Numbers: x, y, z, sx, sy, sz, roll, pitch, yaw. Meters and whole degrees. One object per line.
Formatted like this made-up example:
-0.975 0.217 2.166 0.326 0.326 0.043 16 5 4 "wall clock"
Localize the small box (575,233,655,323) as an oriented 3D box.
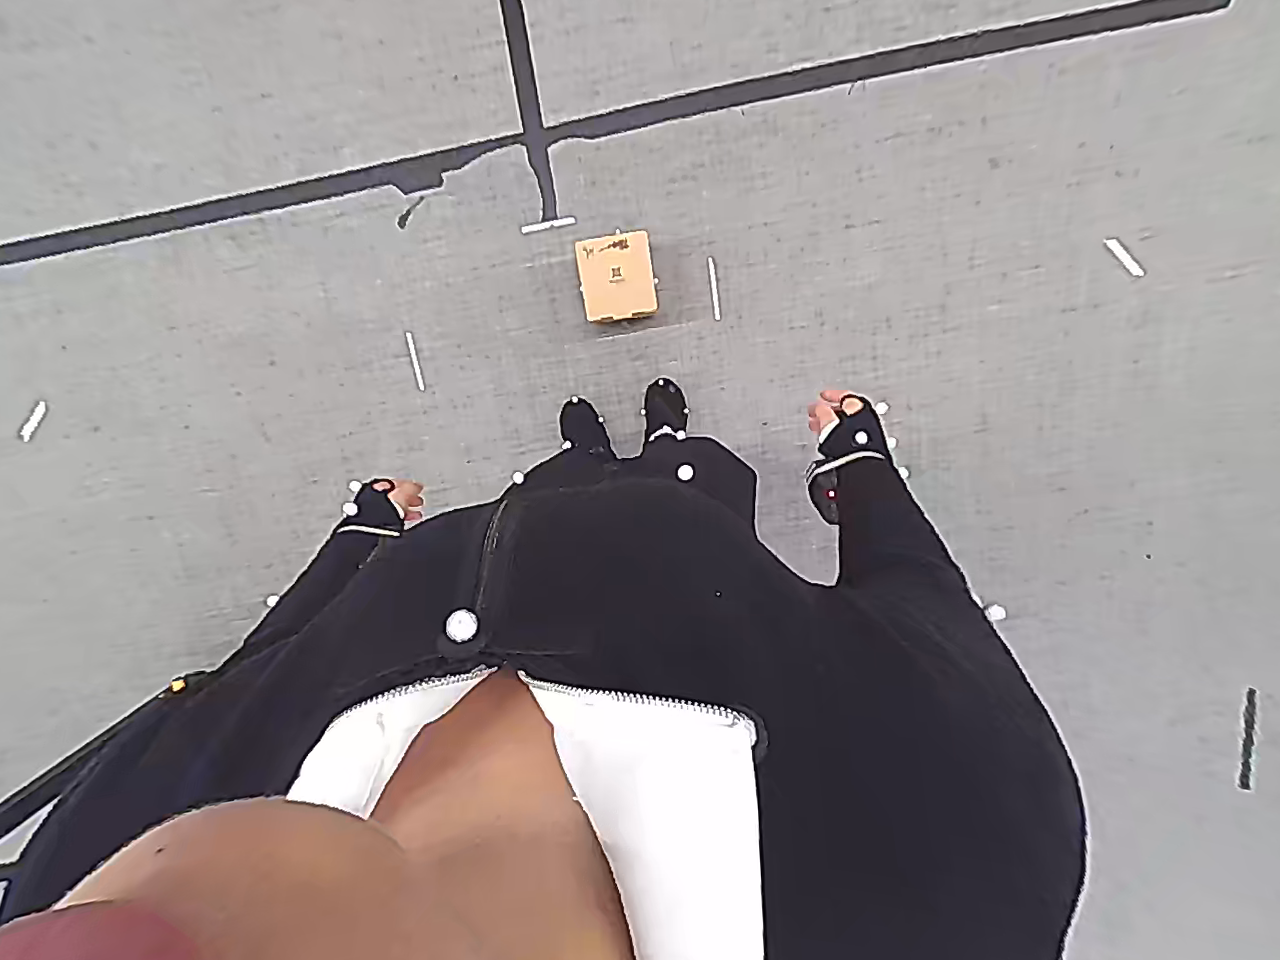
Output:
-0.052 -0.475 1.296 0.168 0.176 0.179 -7 104 2 "small box"
